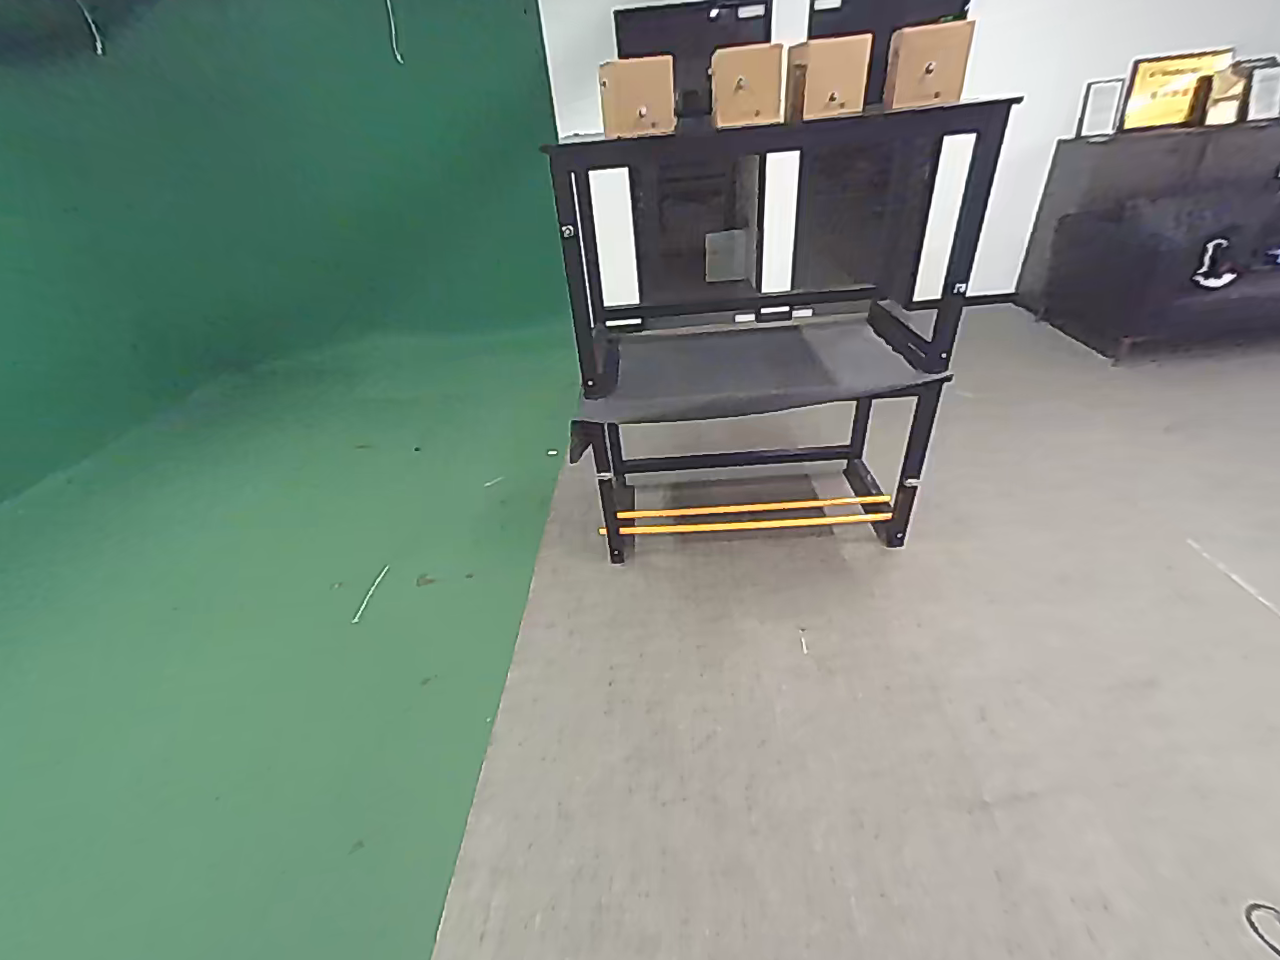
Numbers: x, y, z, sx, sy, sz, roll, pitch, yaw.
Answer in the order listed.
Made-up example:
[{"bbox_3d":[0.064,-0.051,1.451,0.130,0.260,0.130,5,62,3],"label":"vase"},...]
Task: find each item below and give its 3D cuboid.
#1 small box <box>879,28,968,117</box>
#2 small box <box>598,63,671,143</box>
[{"bbox_3d":[0.748,-1.081,1.443,0.168,0.176,0.179,3,35,12],"label":"small box"},{"bbox_3d":[-0.016,-1.041,1.500,0.168,0.176,0.179,-12,36,-10],"label":"small box"}]
